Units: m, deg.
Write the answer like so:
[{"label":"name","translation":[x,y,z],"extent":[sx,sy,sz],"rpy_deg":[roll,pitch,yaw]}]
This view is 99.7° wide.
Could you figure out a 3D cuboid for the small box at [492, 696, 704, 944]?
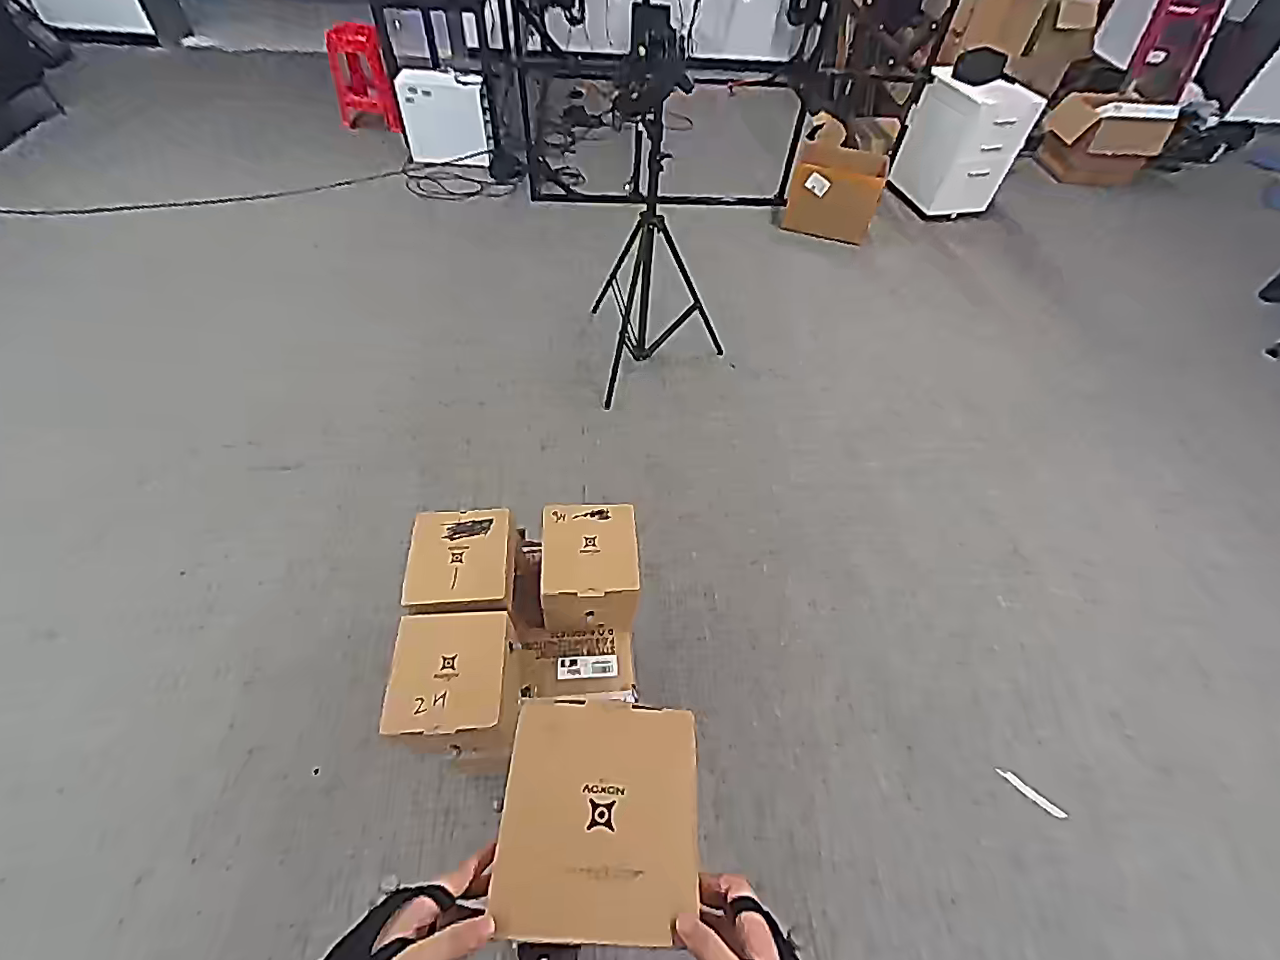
[{"label":"small box","translation":[-0.038,0.329,0.522],"extent":[0.168,0.176,0.179],"rpy_deg":[5,50,-4]}]
